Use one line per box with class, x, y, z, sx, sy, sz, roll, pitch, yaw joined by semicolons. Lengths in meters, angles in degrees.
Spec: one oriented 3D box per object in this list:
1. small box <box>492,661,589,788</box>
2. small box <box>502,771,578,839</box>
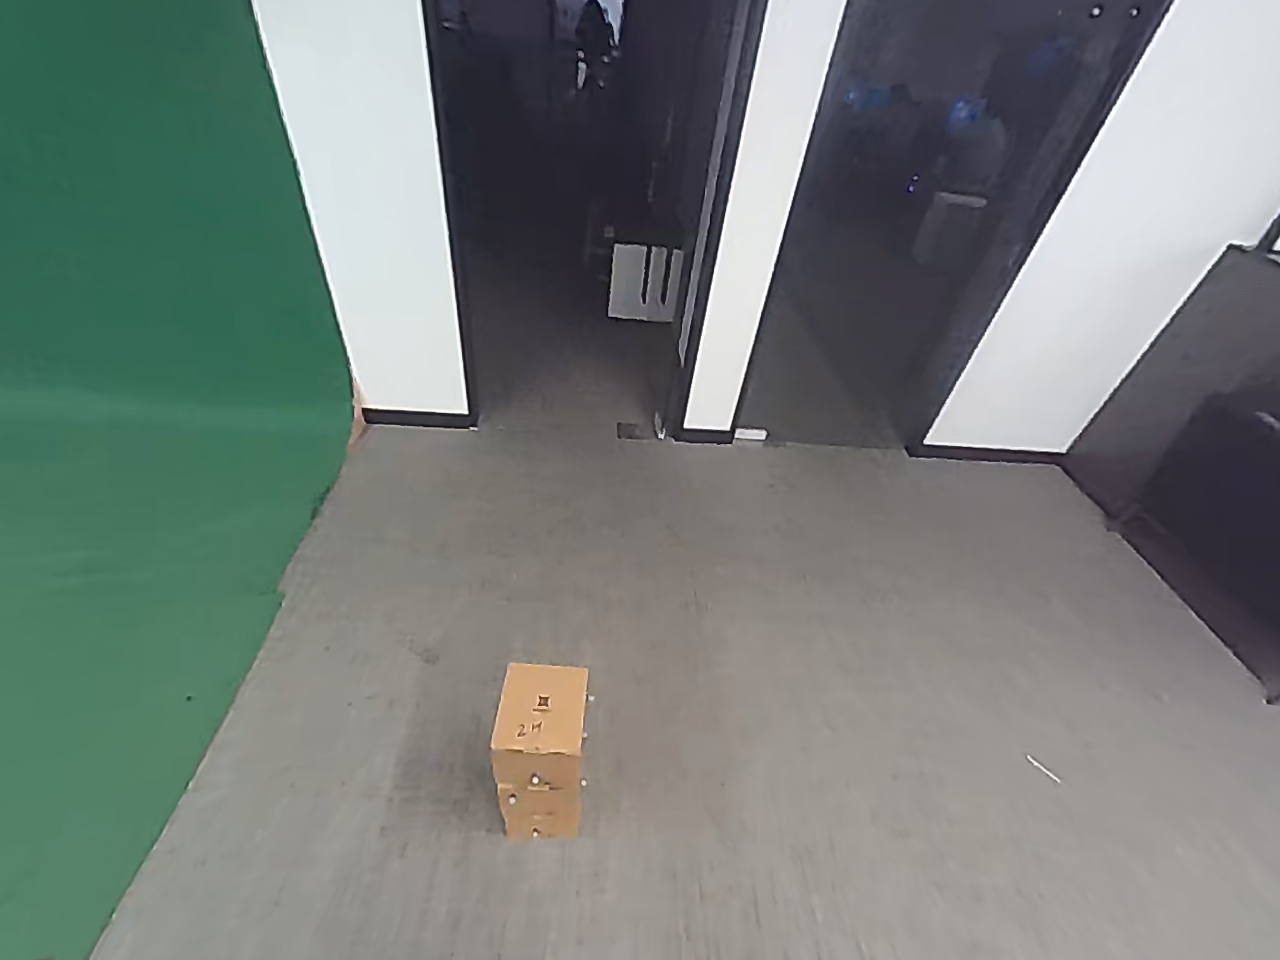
small box;-0.199;0.498;1.102;0.168;0.176;0.179;6;41;-3
small box;-0.239;0.746;1.315;0.168;0.176;0.179;4;41;-6
